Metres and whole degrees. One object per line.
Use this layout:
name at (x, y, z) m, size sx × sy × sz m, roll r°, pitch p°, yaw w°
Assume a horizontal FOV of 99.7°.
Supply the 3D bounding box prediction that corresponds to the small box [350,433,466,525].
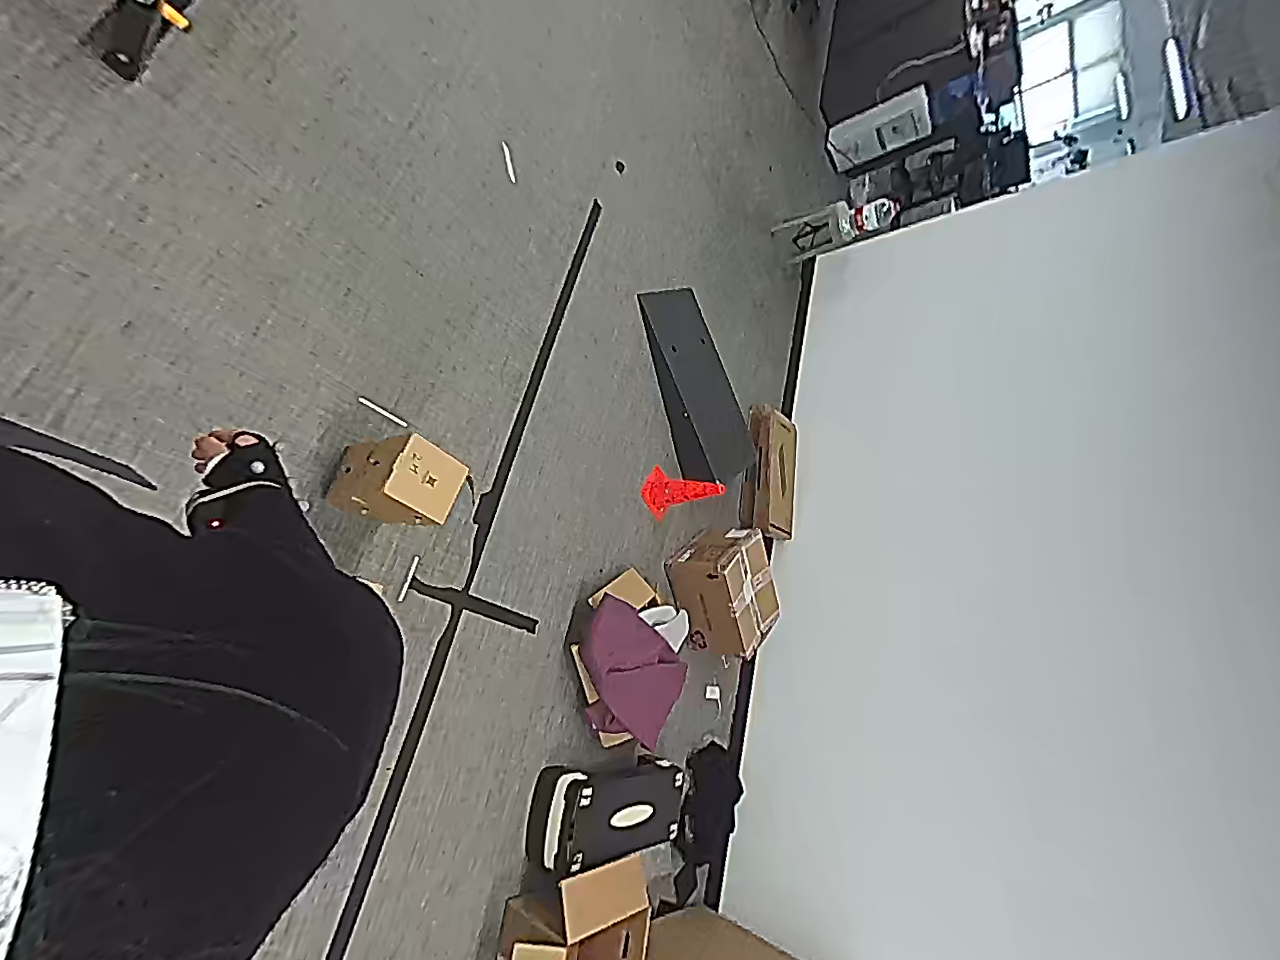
small box at (-0.584, 0.002, 1.362) m, size 0.179 × 0.176 × 0.168 m, roll 42°, pitch 56°, yaw -41°

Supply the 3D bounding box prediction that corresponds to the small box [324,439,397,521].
small box at (-0.714, 0.009, 1.464) m, size 0.179 × 0.176 × 0.168 m, roll 35°, pitch 60°, yaw -43°
